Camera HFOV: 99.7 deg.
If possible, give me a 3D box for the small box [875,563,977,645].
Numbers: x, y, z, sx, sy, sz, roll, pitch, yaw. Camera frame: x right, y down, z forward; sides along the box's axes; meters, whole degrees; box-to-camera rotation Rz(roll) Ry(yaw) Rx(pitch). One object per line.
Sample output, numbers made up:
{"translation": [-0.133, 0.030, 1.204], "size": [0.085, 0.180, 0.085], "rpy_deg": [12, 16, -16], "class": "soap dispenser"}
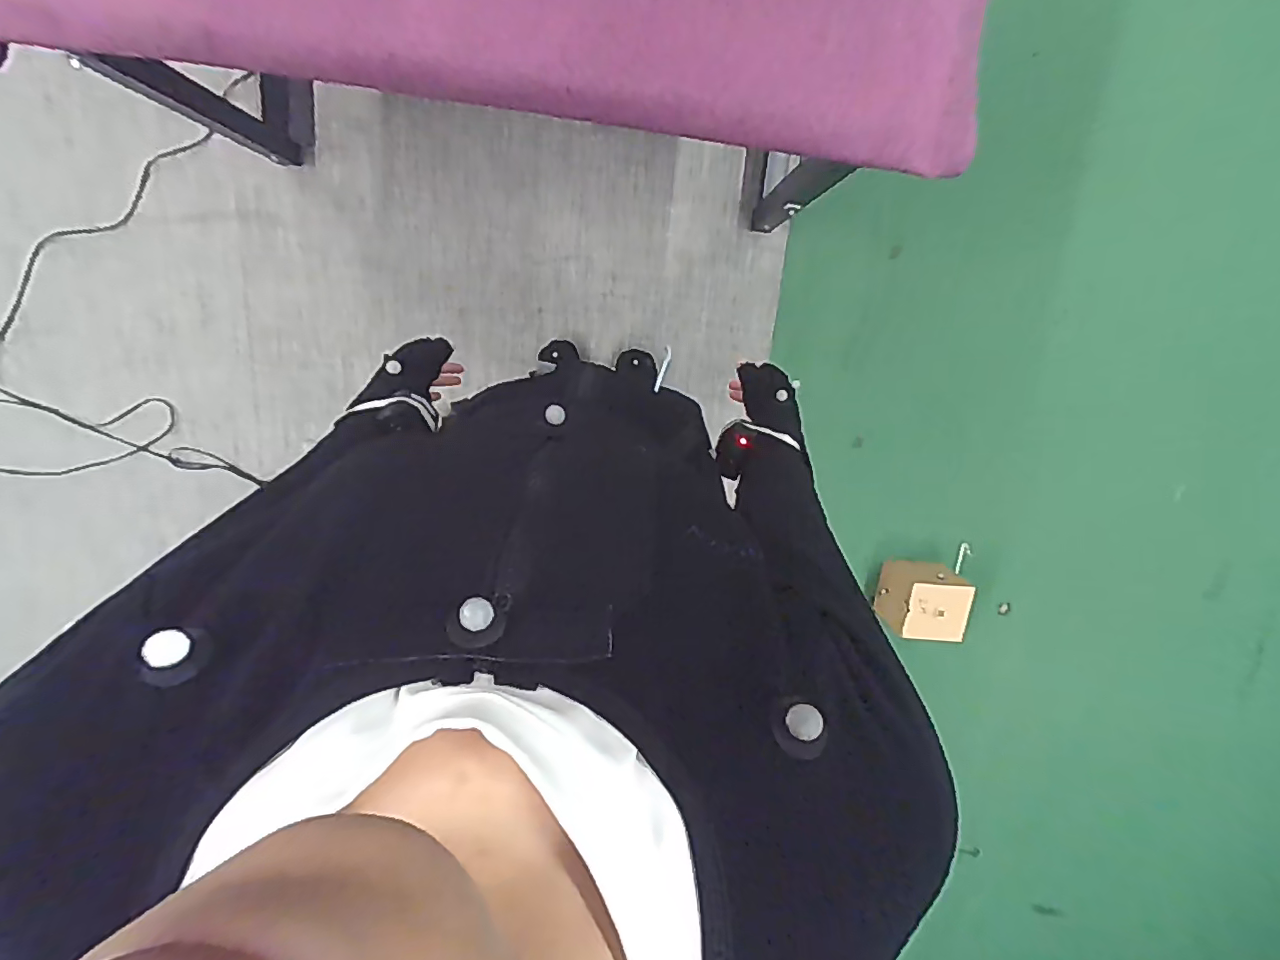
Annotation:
{"translation": [0.795, 0.344, 1.519], "size": [0.179, 0.176, 0.168], "rpy_deg": [5, 105, -3], "class": "small box"}
